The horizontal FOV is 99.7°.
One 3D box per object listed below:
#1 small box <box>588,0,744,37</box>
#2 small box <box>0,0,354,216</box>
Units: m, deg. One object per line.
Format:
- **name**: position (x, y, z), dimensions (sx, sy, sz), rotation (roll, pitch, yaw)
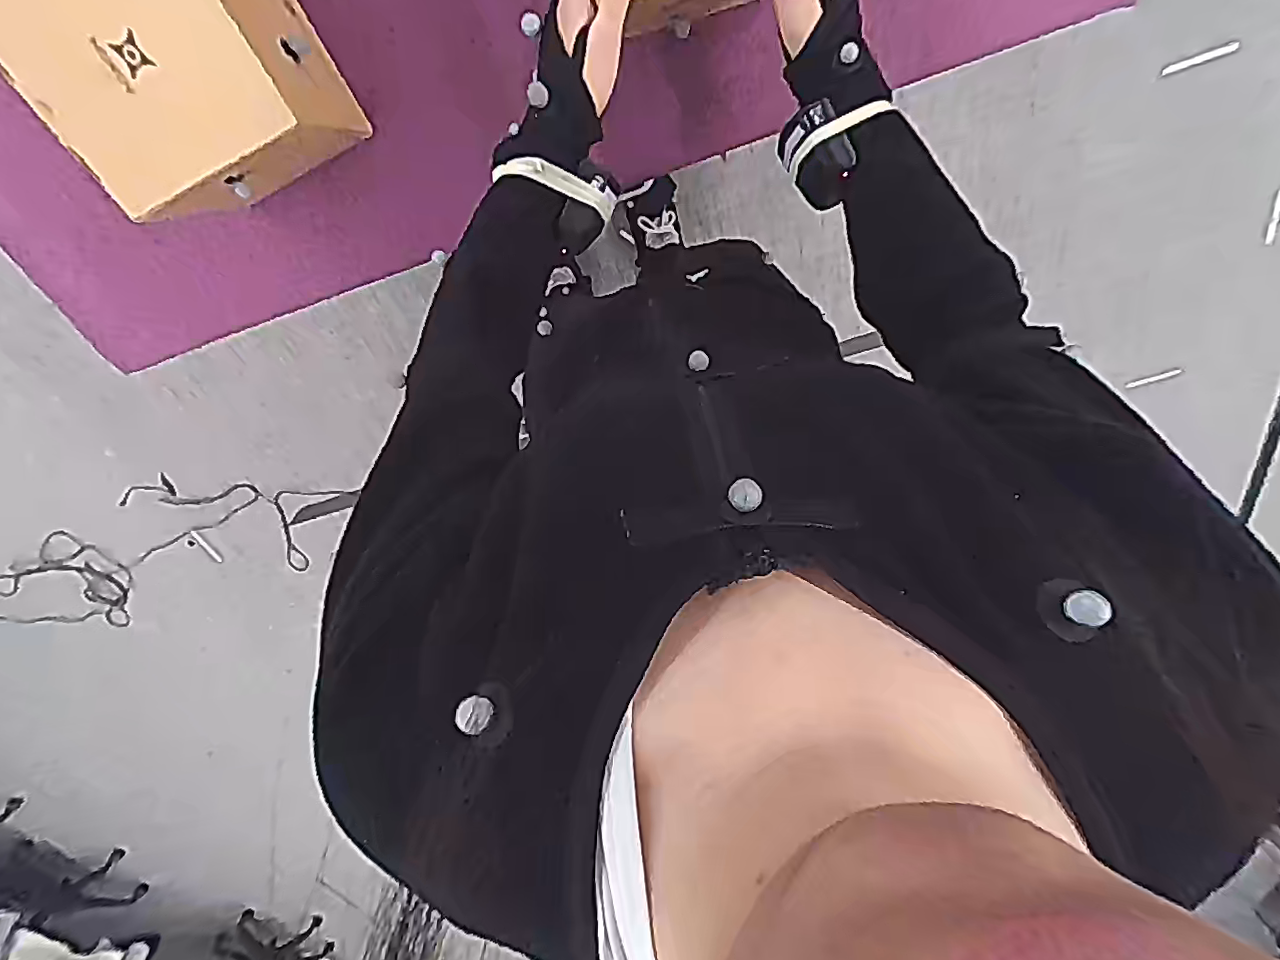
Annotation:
- **small box**: position (0.022, -0.479, 0.414), dimensions (0.168, 0.176, 0.179), rotation (-12, 122, 4)
- **small box**: position (-0.381, -0.356, 0.465), dimensions (0.179, 0.176, 0.168), rotation (-22, 121, 10)
